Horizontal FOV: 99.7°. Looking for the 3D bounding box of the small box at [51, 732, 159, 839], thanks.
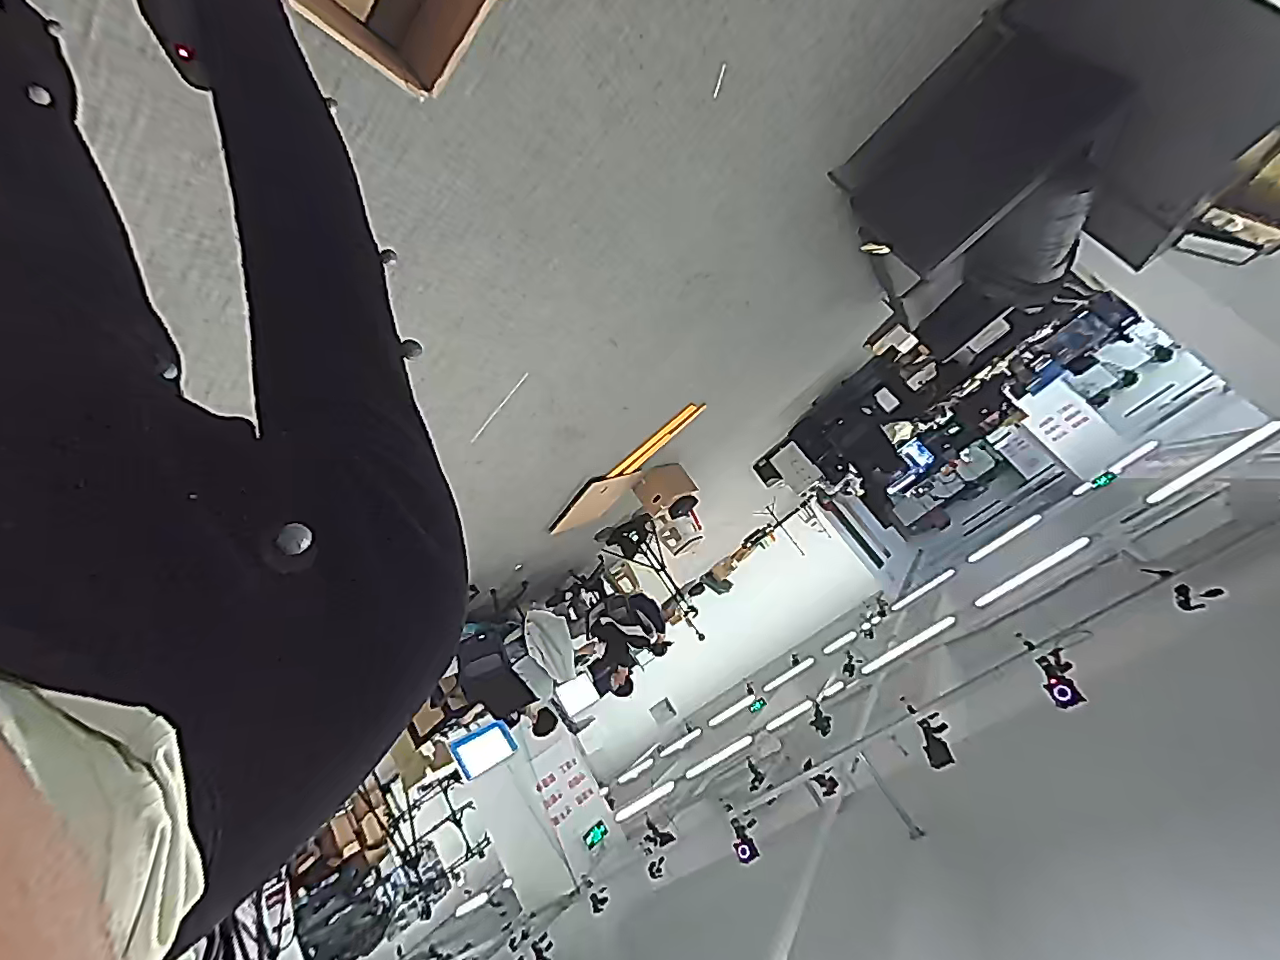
[{"bbox_3d":[-1.460,0.823,1.473,0.179,0.176,0.168,-43,160,23],"label":"small box"}]
